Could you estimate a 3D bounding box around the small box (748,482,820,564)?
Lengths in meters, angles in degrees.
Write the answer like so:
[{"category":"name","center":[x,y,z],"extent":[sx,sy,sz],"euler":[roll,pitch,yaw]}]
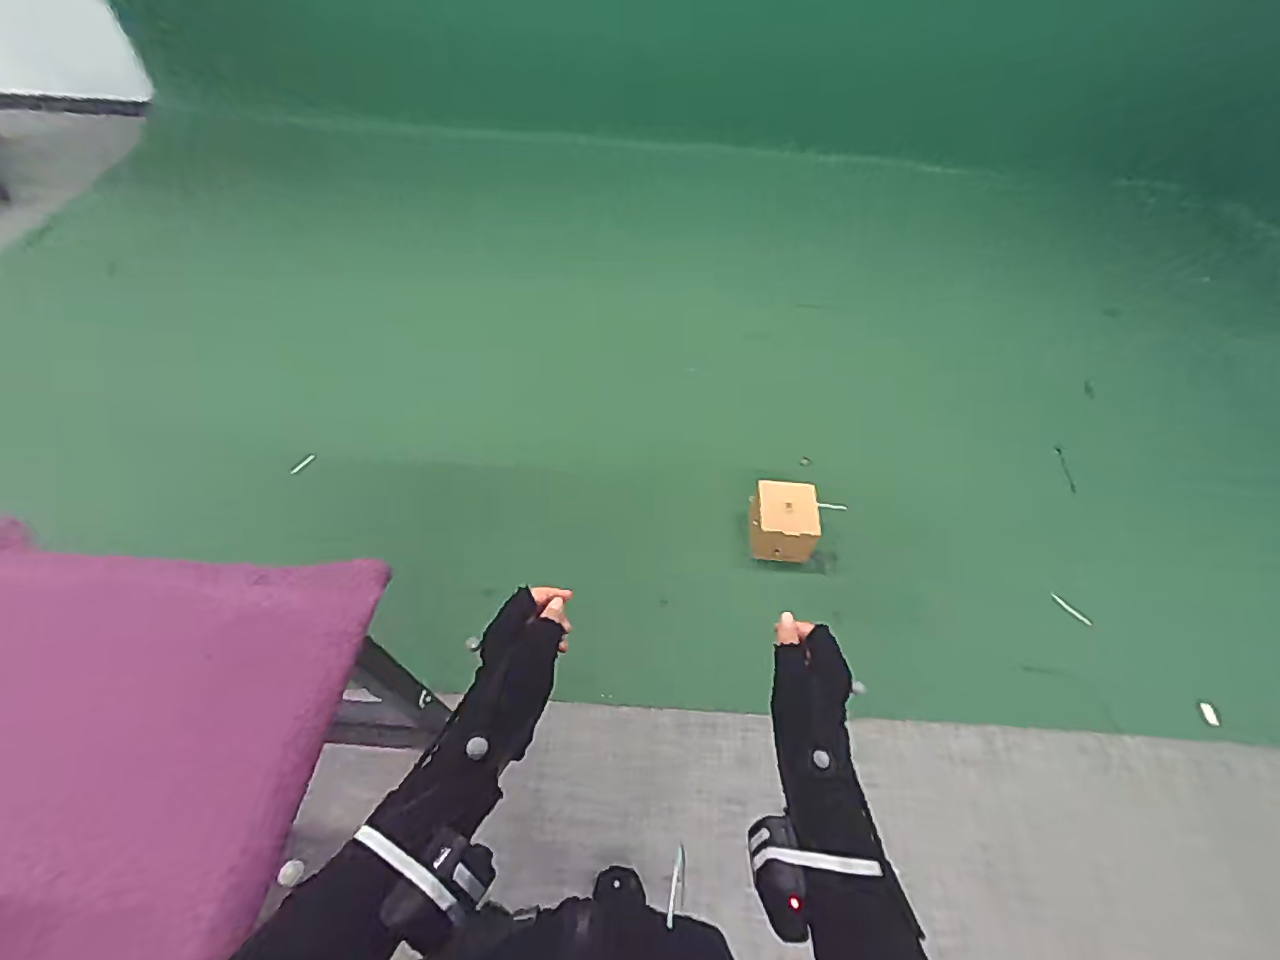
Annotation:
[{"category":"small box","center":[0.422,0.130,1.617],"extent":[0.168,0.176,0.179],"euler":[4,55,1]}]
